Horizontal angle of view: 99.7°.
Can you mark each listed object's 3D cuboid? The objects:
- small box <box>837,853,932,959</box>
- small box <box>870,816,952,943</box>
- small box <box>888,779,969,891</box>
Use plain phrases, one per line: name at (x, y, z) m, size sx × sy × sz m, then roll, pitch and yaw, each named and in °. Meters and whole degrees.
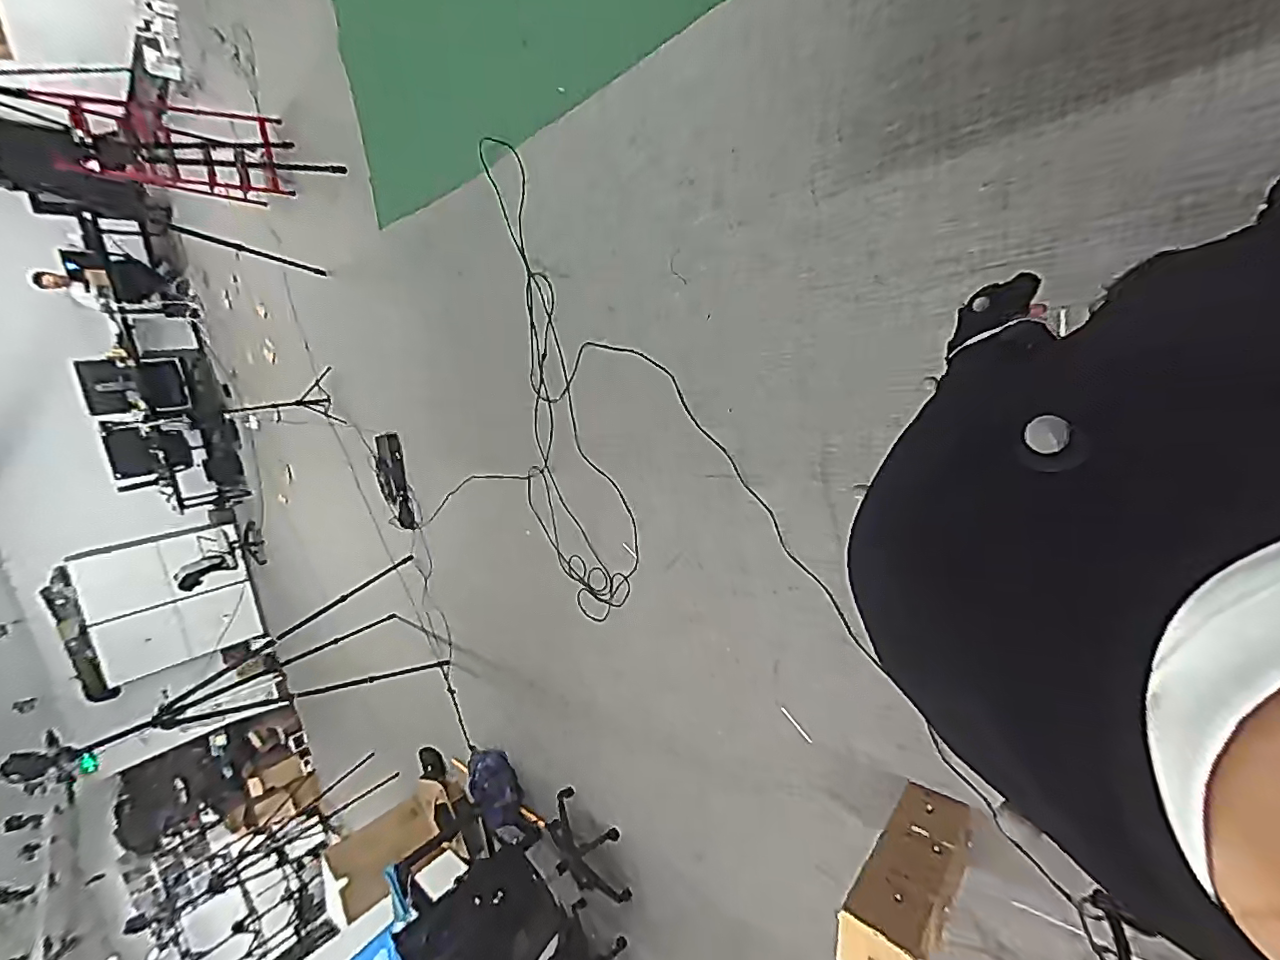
small box at (0.603, 1.085, 1.332) m, size 0.168 × 0.176 × 0.179 m, roll 12°, pitch 111°, yaw 41°
small box at (0.718, 1.049, 1.441) m, size 0.168 × 0.176 × 0.179 m, roll 5°, pitch 108°, yaw 42°
small box at (0.832, 1.007, 1.555) m, size 0.168 × 0.176 × 0.179 m, roll 2°, pitch 103°, yaw 46°
